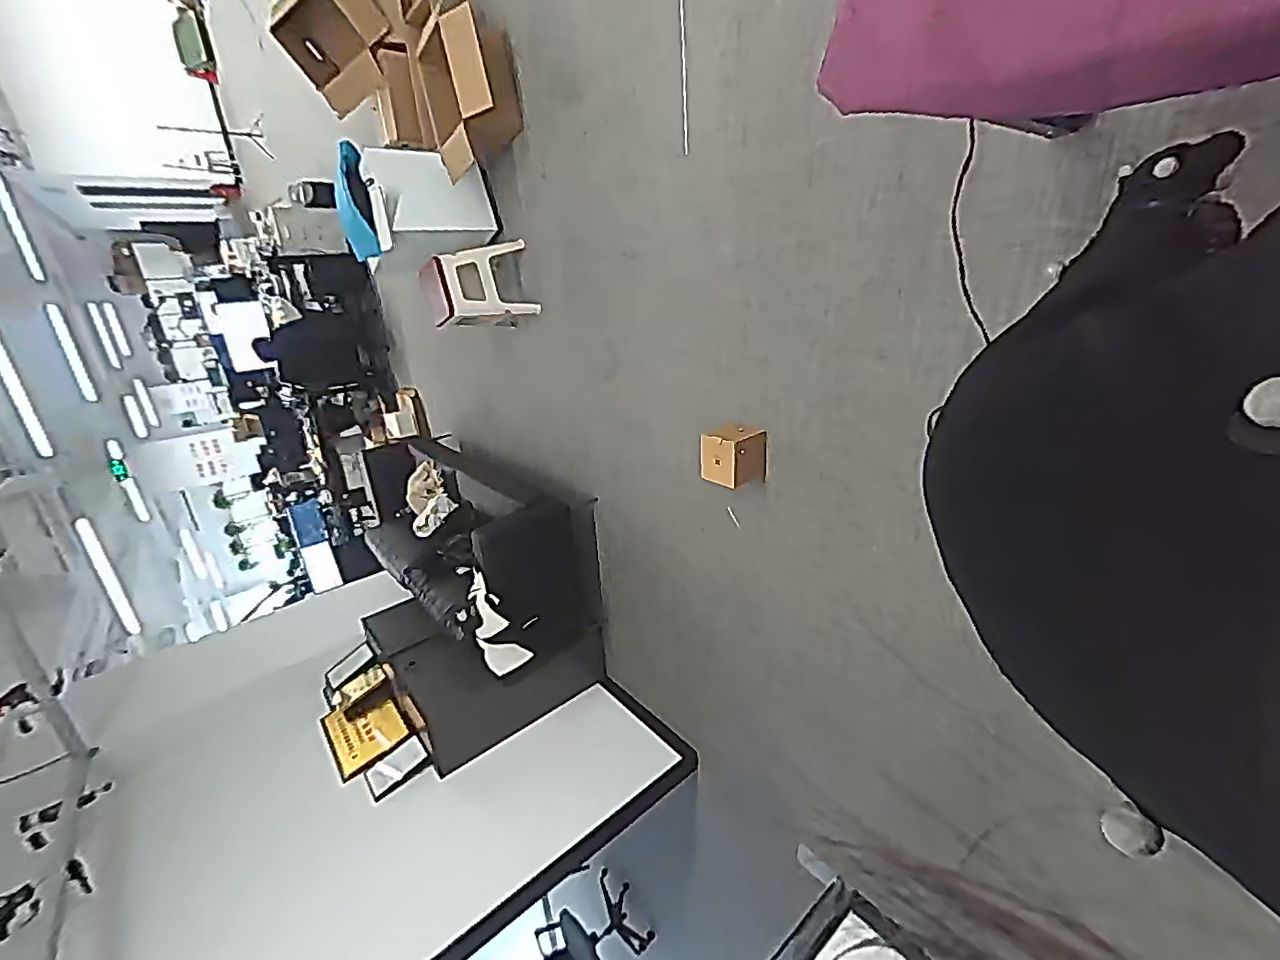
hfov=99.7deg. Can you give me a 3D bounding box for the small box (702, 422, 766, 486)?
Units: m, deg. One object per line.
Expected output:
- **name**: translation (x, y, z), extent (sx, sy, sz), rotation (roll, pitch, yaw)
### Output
- **small box**: translation (0.344, -0.100, 1.969), extent (0.168, 0.176, 0.179), rotation (21, 122, 47)
